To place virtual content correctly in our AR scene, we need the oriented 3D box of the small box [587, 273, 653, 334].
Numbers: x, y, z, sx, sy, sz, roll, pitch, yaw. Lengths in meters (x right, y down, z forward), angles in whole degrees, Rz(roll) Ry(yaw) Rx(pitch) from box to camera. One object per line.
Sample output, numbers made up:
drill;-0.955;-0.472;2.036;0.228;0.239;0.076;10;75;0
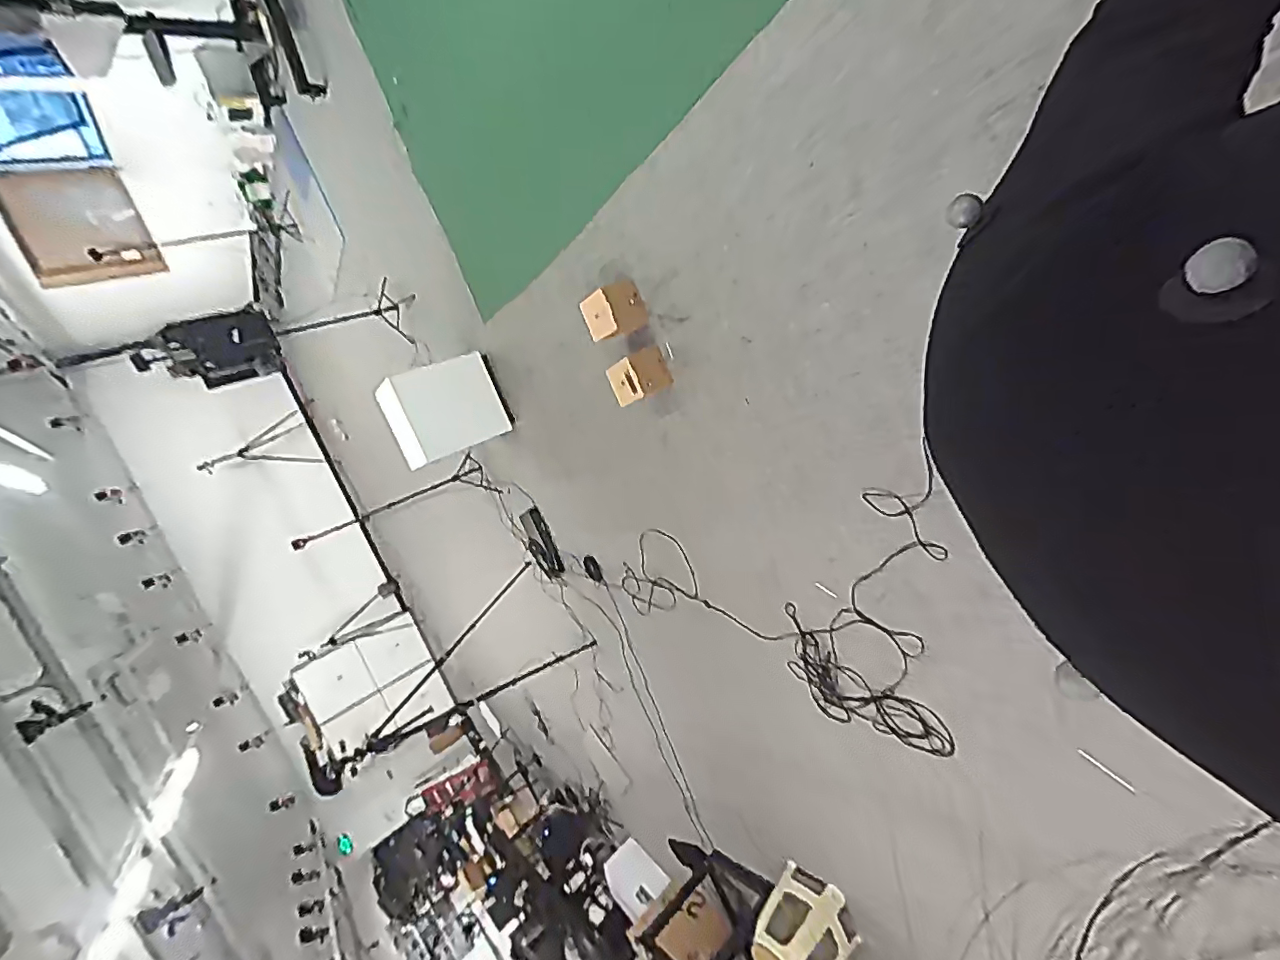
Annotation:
small box;-0.078;-0.703;2.159;0.179;0.176;0.168;-12;104;54
